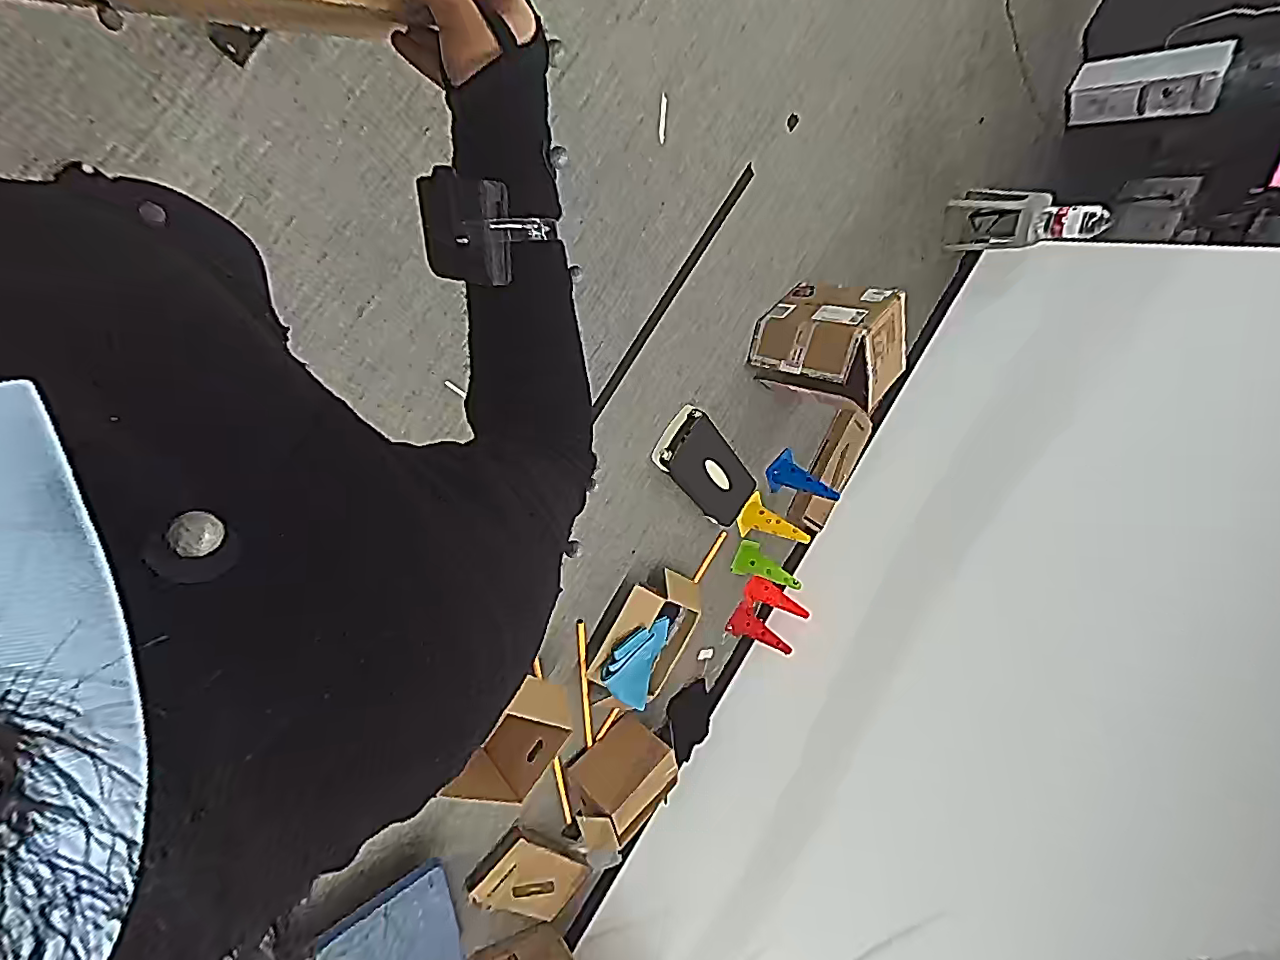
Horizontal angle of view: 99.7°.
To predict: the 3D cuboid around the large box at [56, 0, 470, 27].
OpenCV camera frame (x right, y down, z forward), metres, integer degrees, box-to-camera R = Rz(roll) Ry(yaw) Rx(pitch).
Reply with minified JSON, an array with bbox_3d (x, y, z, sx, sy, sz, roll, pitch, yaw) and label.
[{"bbox_3d":[-0.339,-0.444,0.265,0.408,0.320,0.320,-18,129,-27],"label":"large box"}]
